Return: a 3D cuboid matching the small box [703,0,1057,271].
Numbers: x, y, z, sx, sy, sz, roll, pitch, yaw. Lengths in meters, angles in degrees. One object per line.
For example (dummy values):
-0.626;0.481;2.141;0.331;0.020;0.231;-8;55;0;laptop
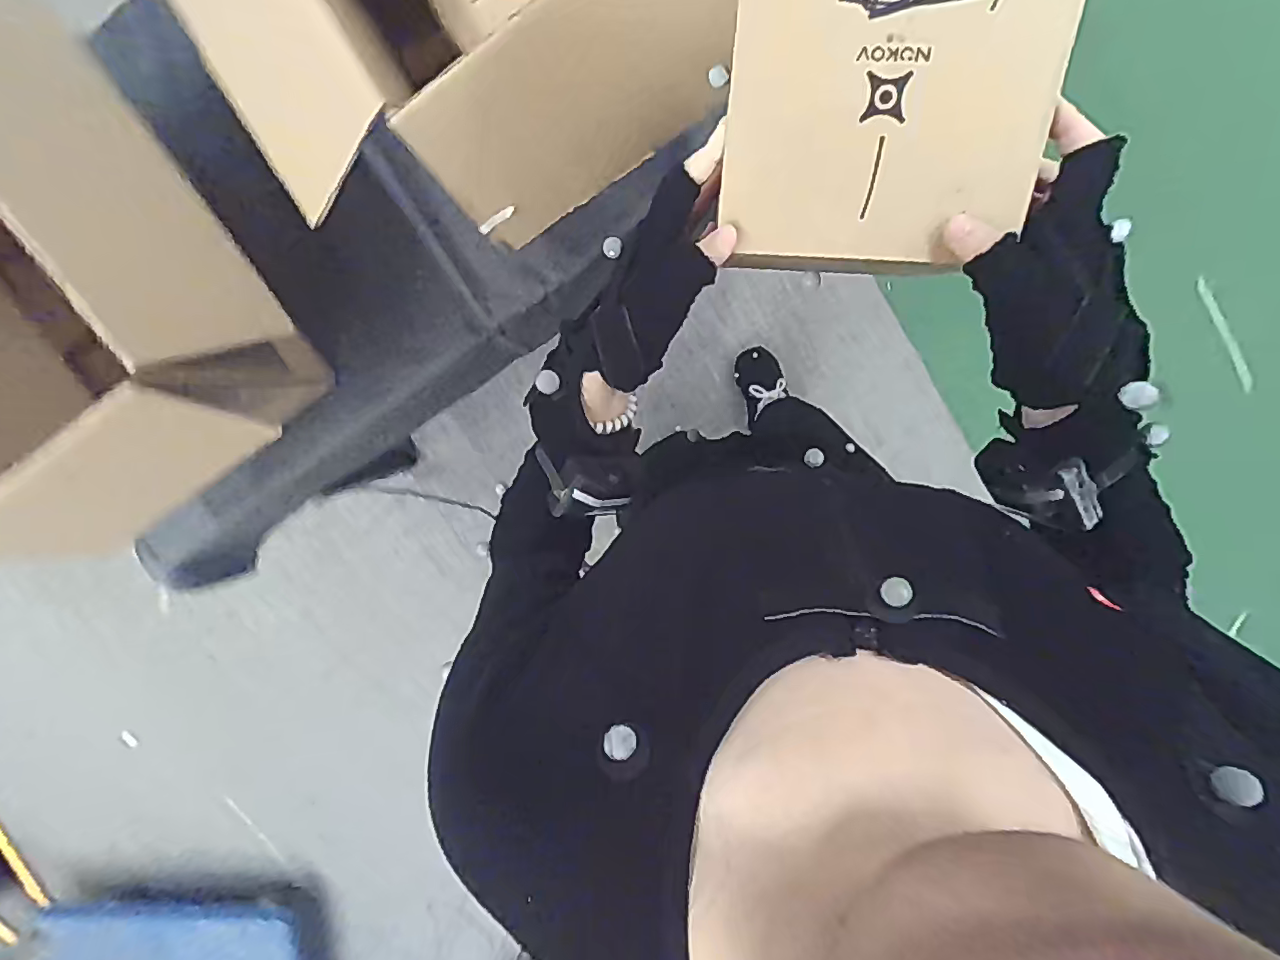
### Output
0.131;-0.240;0.360;0.168;0.176;0.179;5;110;5;small box
